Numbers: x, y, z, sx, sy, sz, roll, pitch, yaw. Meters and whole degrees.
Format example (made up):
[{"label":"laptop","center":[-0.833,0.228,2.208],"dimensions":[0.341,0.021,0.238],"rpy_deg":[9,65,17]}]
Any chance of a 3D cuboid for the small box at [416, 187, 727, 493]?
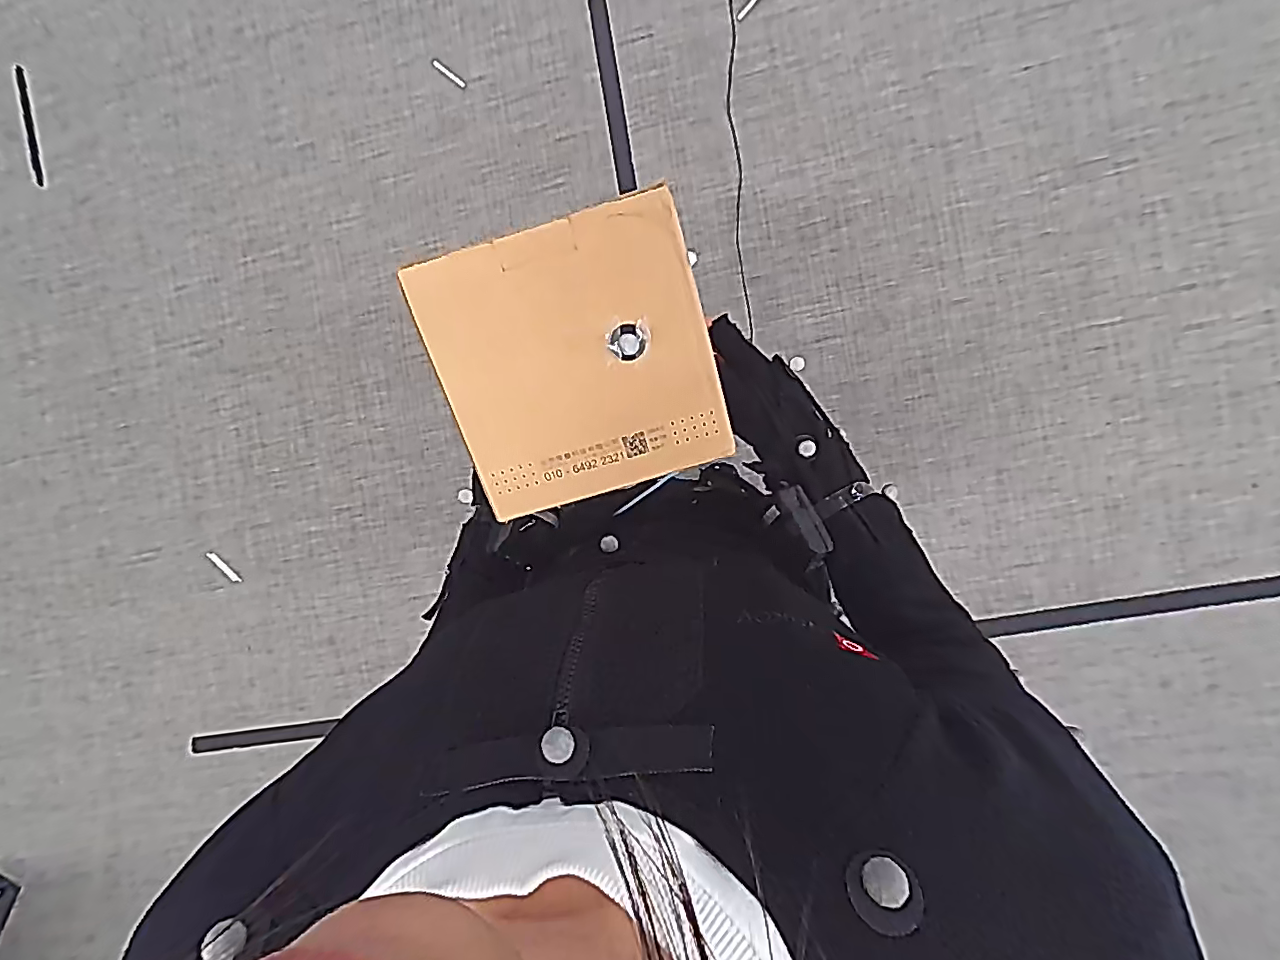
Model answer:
[{"label":"small box","center":[-0.037,-0.102,0.424],"dimensions":[0.168,0.179,0.176],"rpy_deg":[-15,109,5]}]
